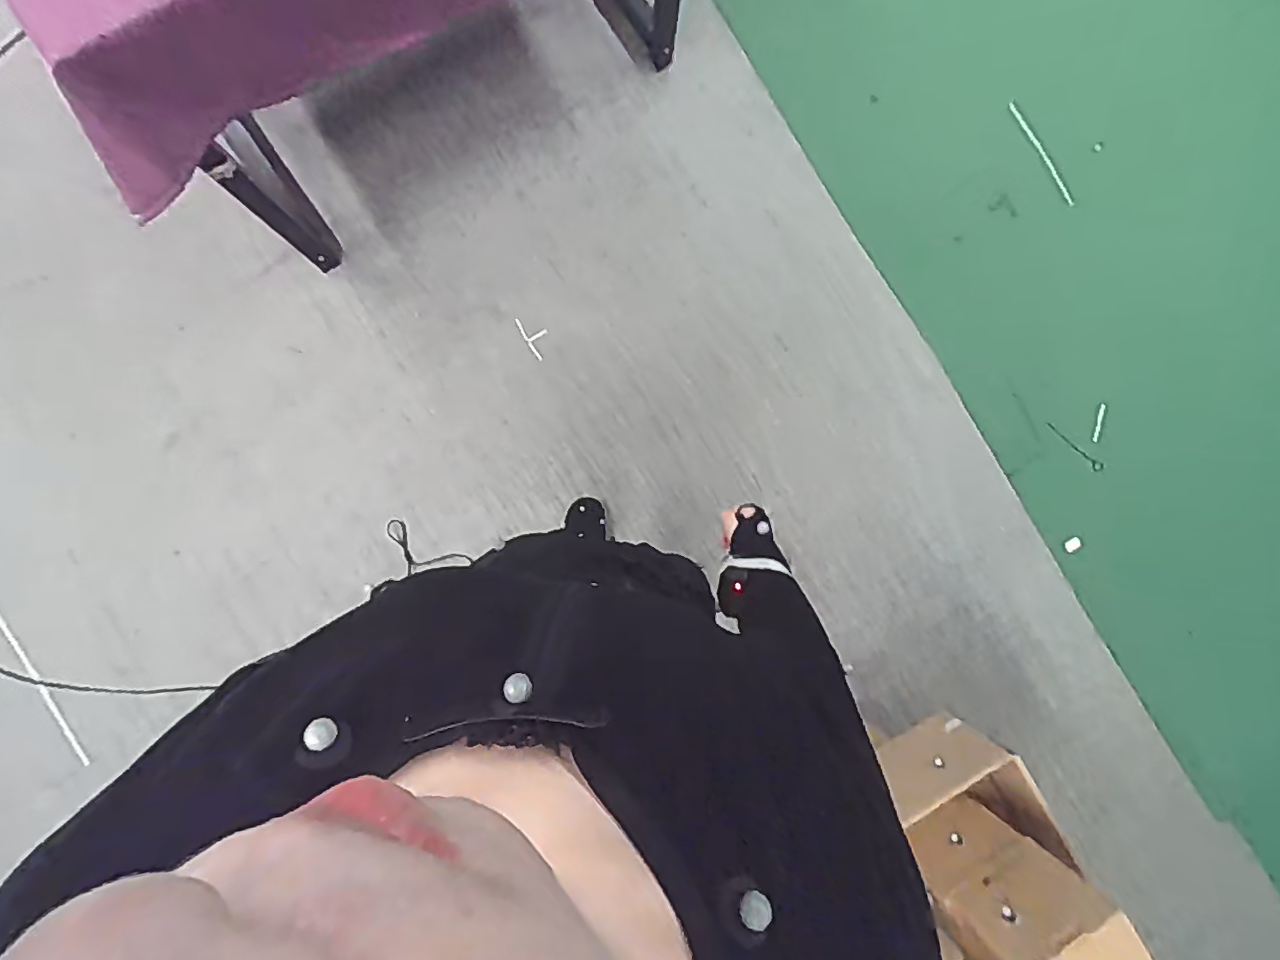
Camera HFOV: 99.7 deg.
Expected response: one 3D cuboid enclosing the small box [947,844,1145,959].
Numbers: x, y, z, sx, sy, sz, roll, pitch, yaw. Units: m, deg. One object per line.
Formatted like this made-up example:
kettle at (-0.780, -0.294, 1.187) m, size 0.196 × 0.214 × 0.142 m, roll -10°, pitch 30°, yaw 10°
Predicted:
small box at (0.606, 0.690, 0.806) m, size 0.168 × 0.176 × 0.179 m, roll -29°, pitch 90°, yaw -5°
